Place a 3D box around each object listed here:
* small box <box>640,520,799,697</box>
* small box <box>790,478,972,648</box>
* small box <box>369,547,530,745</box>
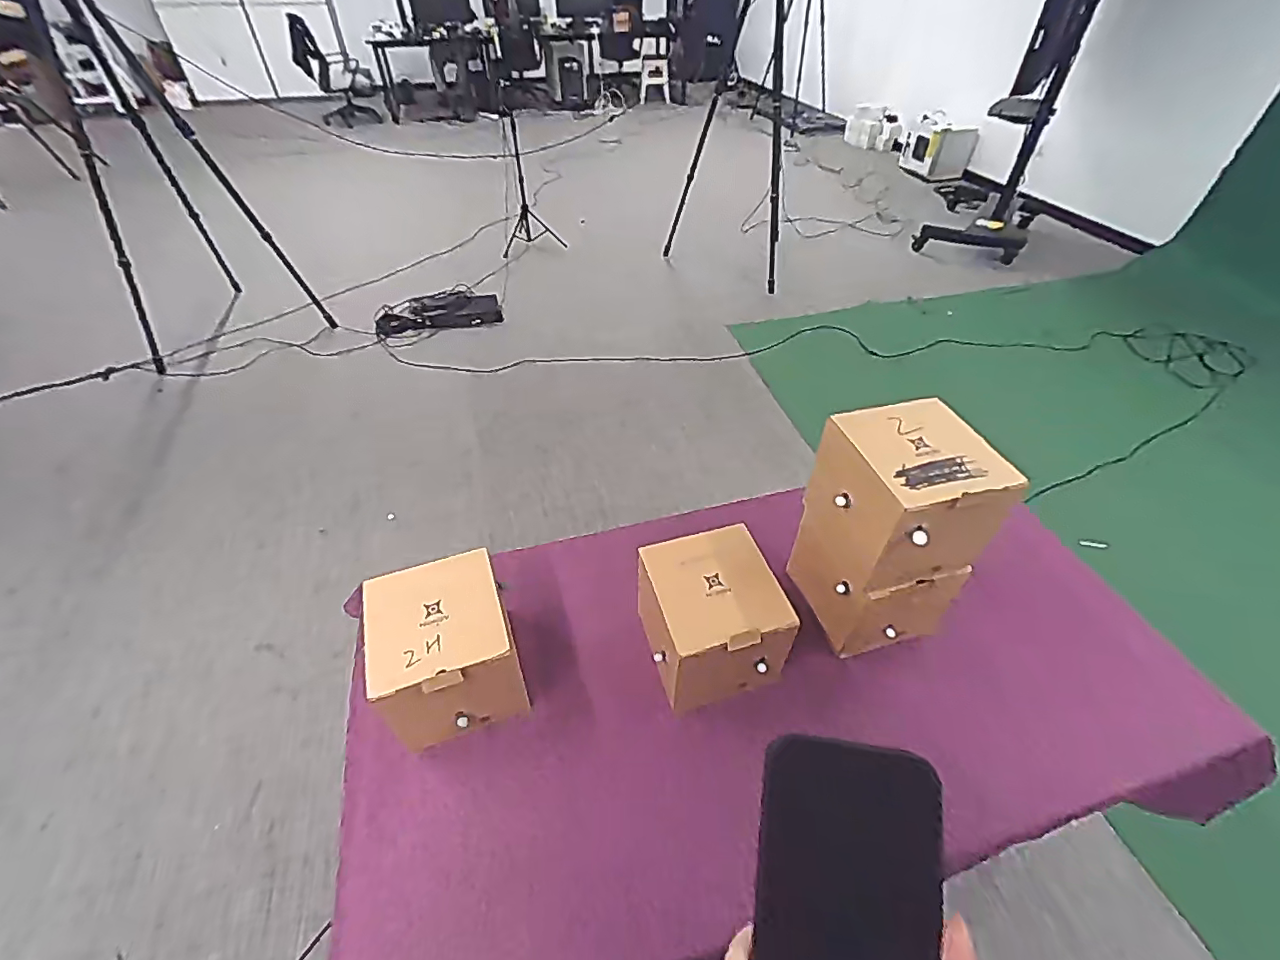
[{"bbox_3d":[0.102,0.190,0.778,0.168,0.176,0.179,-12,46,-12],"label":"small box"},{"bbox_3d":[0.354,0.128,0.836,0.168,0.176,0.179,-13,47,-11],"label":"small box"},{"bbox_3d":[-0.258,0.226,0.744,0.168,0.176,0.179,-16,48,-14],"label":"small box"}]
